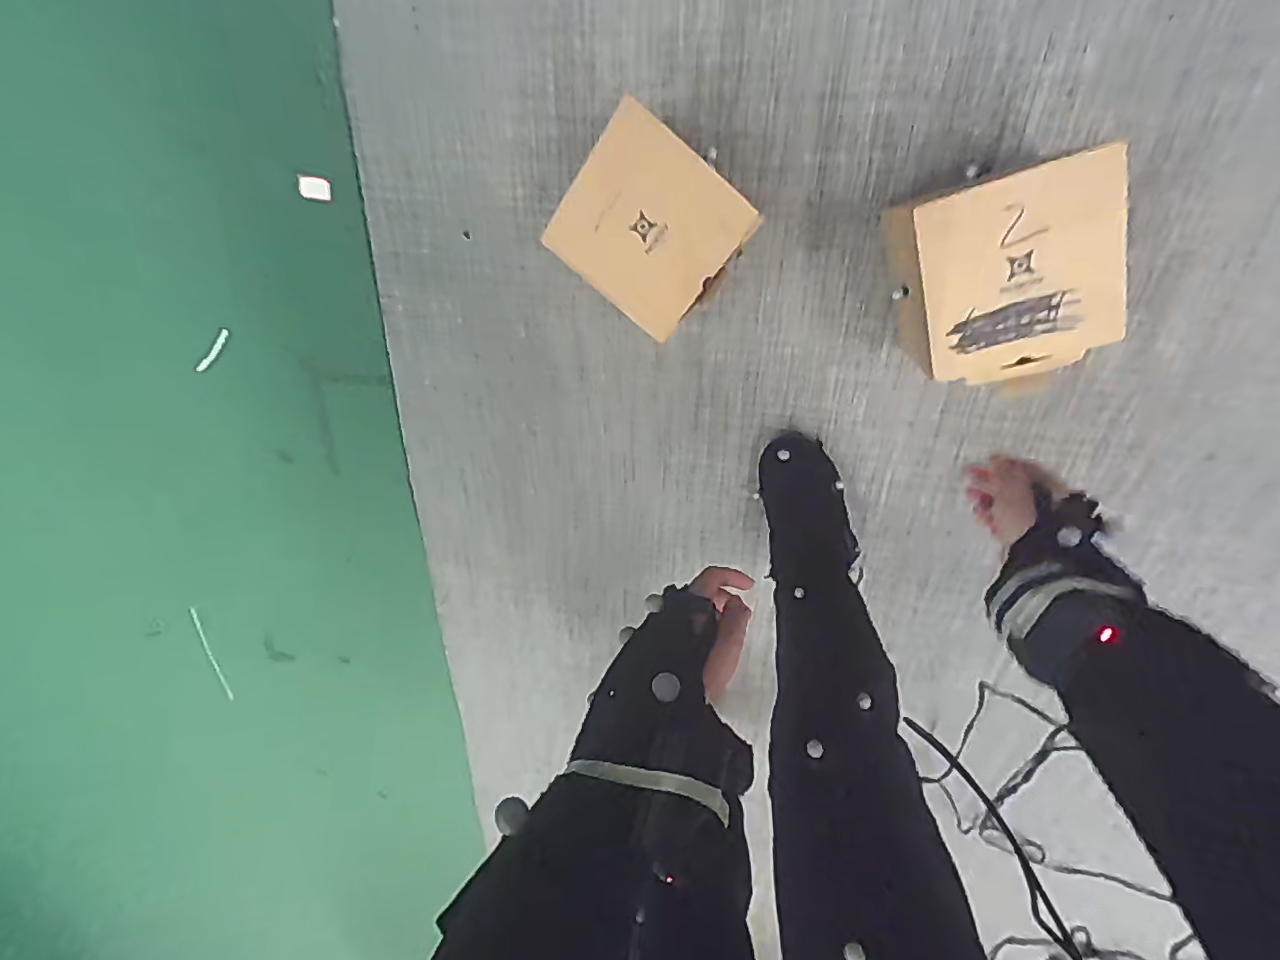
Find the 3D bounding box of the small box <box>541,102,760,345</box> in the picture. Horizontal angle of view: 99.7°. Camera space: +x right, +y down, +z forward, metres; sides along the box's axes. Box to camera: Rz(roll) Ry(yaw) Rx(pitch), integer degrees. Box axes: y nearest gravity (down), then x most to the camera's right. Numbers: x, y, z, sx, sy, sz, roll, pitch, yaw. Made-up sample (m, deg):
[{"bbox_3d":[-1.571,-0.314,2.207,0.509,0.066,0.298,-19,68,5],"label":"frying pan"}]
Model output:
[{"bbox_3d":[0.023,-0.289,0.627,0.179,0.176,0.168,39,117,-6],"label":"small box"}]
